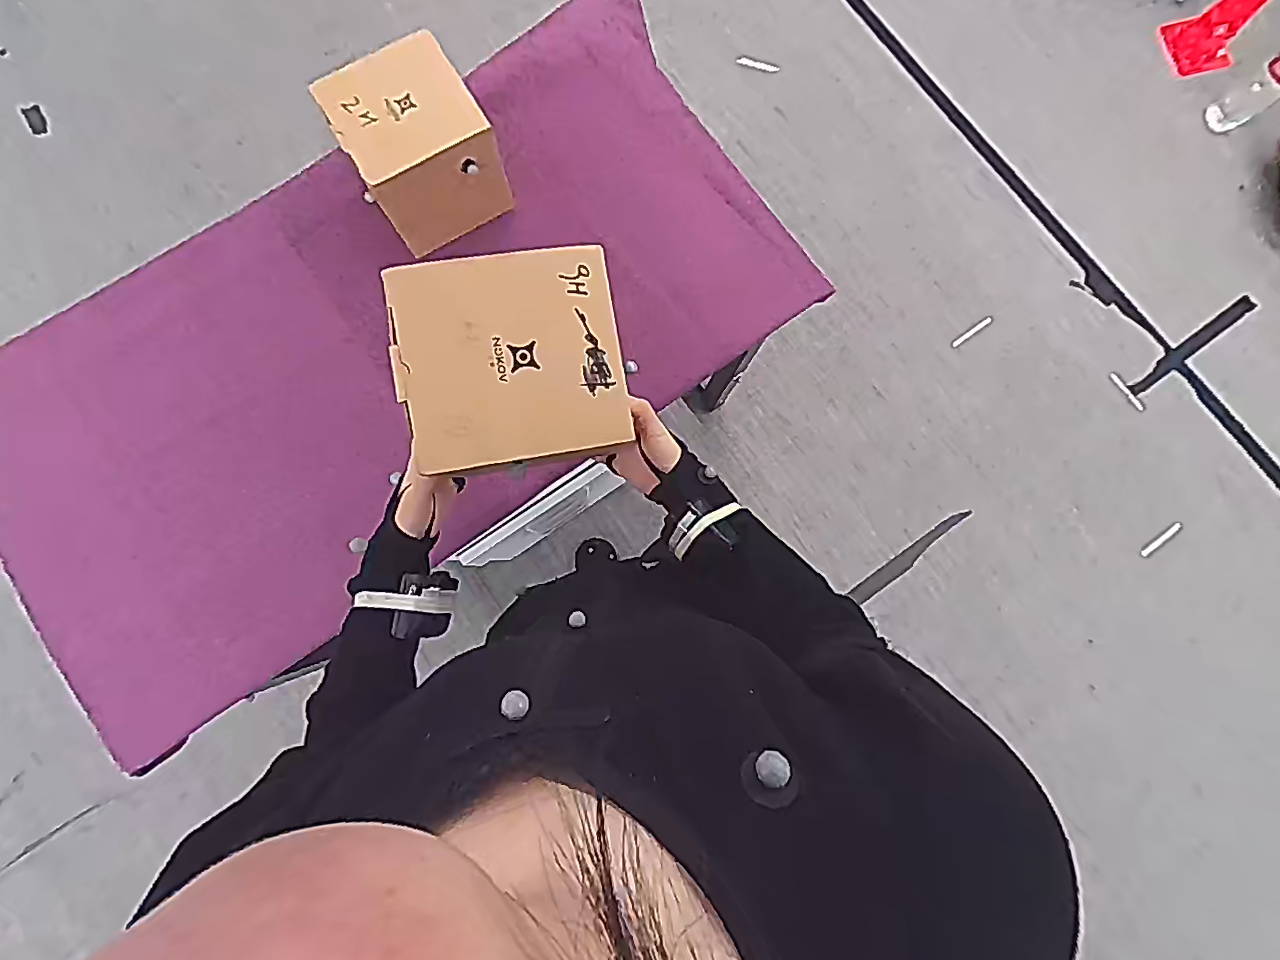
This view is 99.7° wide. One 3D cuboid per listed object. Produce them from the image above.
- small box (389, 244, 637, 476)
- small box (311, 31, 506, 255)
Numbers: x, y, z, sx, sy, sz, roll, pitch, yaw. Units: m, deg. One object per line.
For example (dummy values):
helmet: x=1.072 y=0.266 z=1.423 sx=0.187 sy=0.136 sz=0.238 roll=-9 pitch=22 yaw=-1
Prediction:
small box: x=-0.107 y=-0.097 z=0.507 sx=0.179 sy=0.176 sz=0.168 roll=-10 pitch=91 yaw=-7
small box: x=-0.307 y=-0.461 z=0.765 sx=0.179 sy=0.176 sz=0.168 roll=-32 pitch=85 yaw=-6
